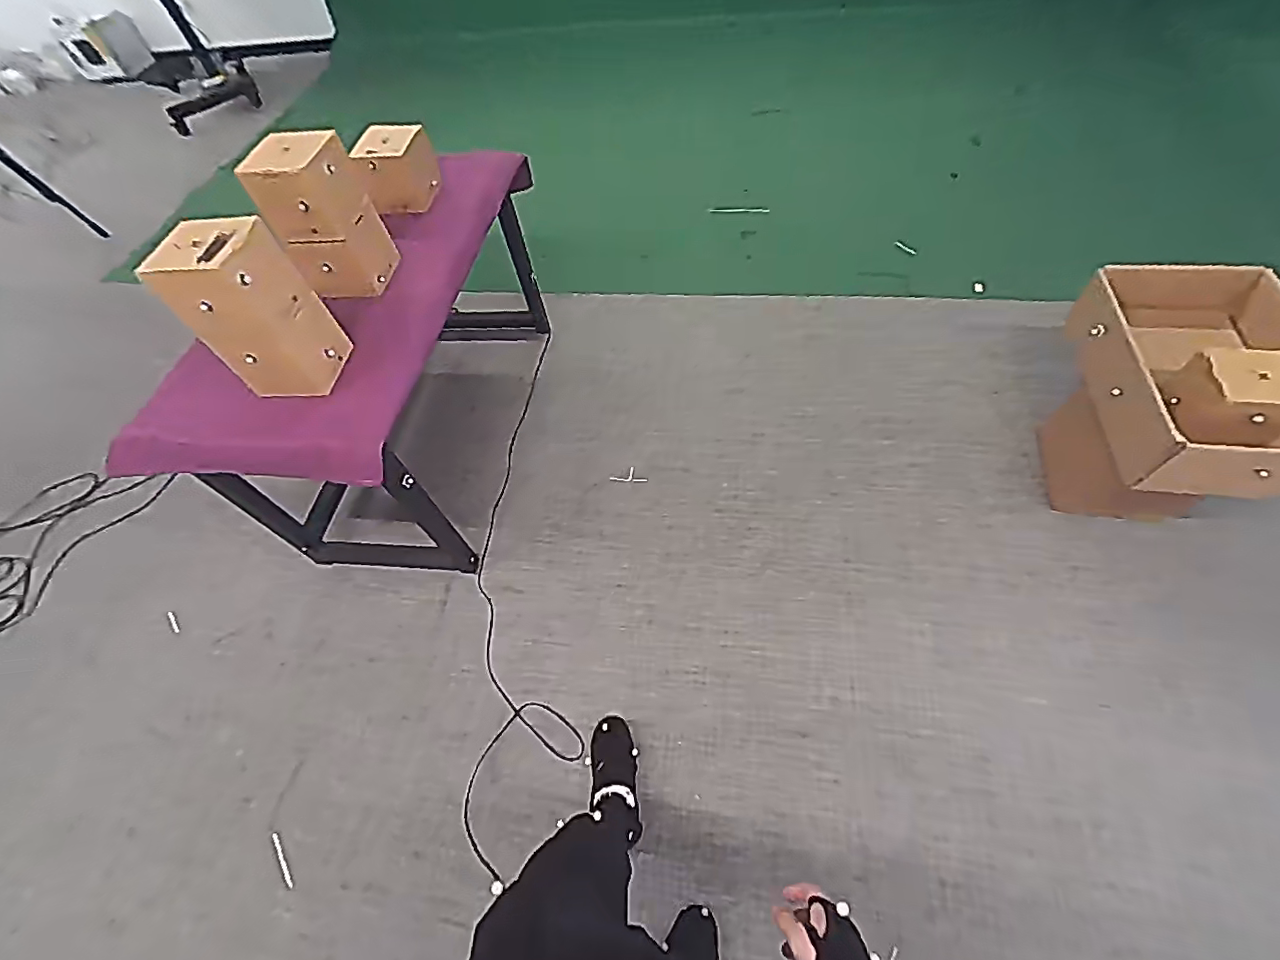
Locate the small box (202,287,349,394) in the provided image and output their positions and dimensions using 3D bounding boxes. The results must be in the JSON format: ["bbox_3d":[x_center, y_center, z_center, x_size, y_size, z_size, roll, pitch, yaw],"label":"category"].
[{"bbox_3d":[-0.796,-0.305,1.202,0.179,0.176,0.168,1,57,7],"label":"small box"}]

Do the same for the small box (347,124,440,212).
[{"bbox_3d":[-0.717,-0.922,1.600,0.168,0.176,0.179,3,57,8],"label":"small box"}]

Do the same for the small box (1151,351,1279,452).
[{"bbox_3d":[1.375,-0.180,1.270,0.179,0.176,0.168,5,59,10],"label":"small box"}]

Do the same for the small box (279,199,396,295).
[{"bbox_3d":[-0.764,-0.595,1.391,0.179,0.176,0.168,2,57,8],"label":"small box"}]

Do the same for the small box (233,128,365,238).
[{"bbox_3d":[-0.774,-0.684,1.255,0.168,0.176,0.179,3,57,7],"label":"small box"}]
